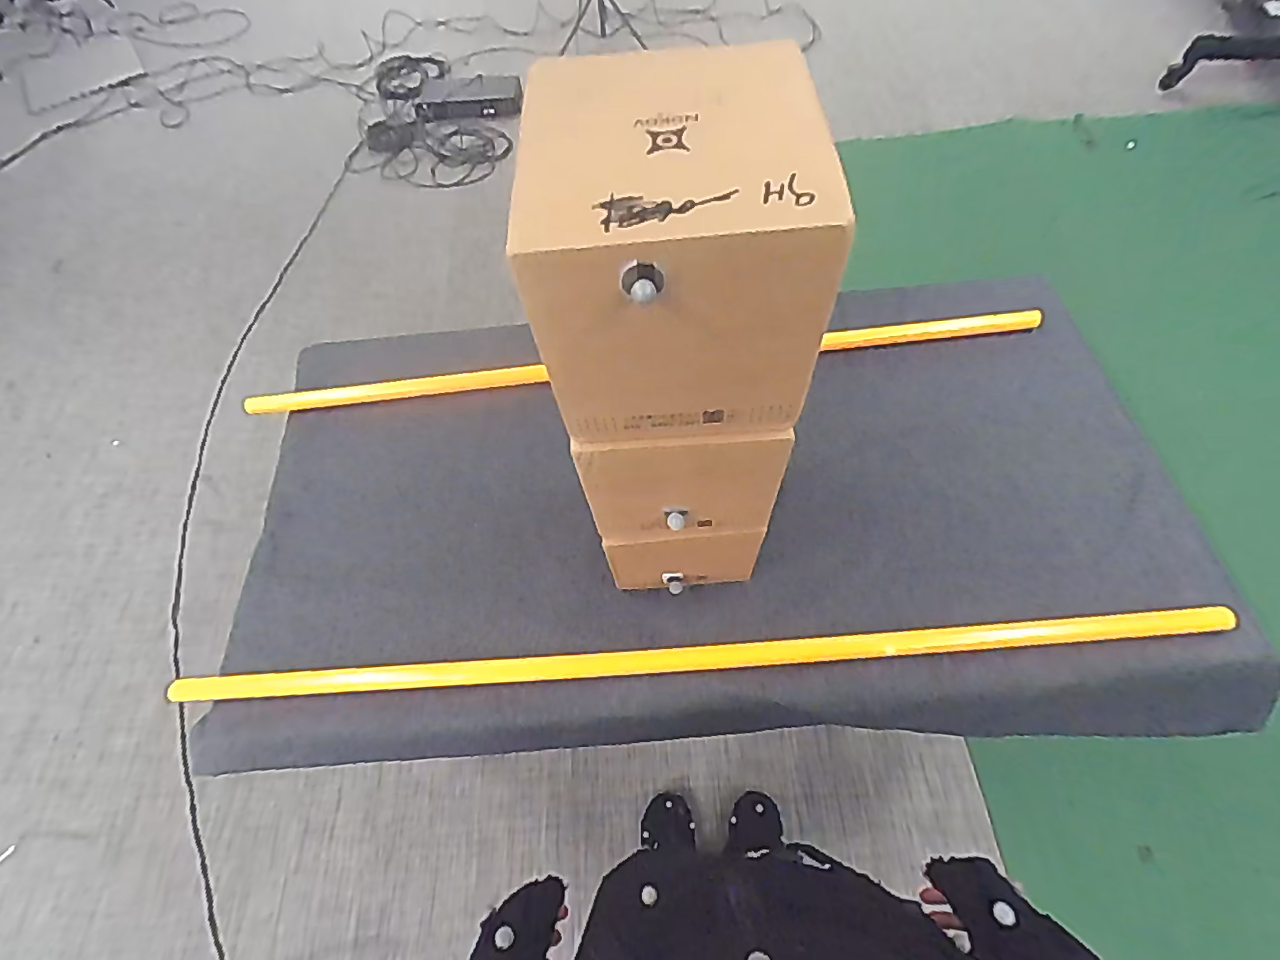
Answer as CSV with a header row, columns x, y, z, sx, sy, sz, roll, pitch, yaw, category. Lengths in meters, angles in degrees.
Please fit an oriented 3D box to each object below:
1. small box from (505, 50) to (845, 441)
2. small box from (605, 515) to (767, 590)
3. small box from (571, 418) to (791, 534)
x,y,z,sx,sy,sz,roll,pitch,yaw,category
0.021,-0.147,0.368,0.168,0.176,0.179,-4,61,5,small box
0.046,0.019,0.650,0.168,0.176,0.179,-7,63,2,small box
0.035,-0.063,0.508,0.168,0.176,0.179,-3,62,4,small box
